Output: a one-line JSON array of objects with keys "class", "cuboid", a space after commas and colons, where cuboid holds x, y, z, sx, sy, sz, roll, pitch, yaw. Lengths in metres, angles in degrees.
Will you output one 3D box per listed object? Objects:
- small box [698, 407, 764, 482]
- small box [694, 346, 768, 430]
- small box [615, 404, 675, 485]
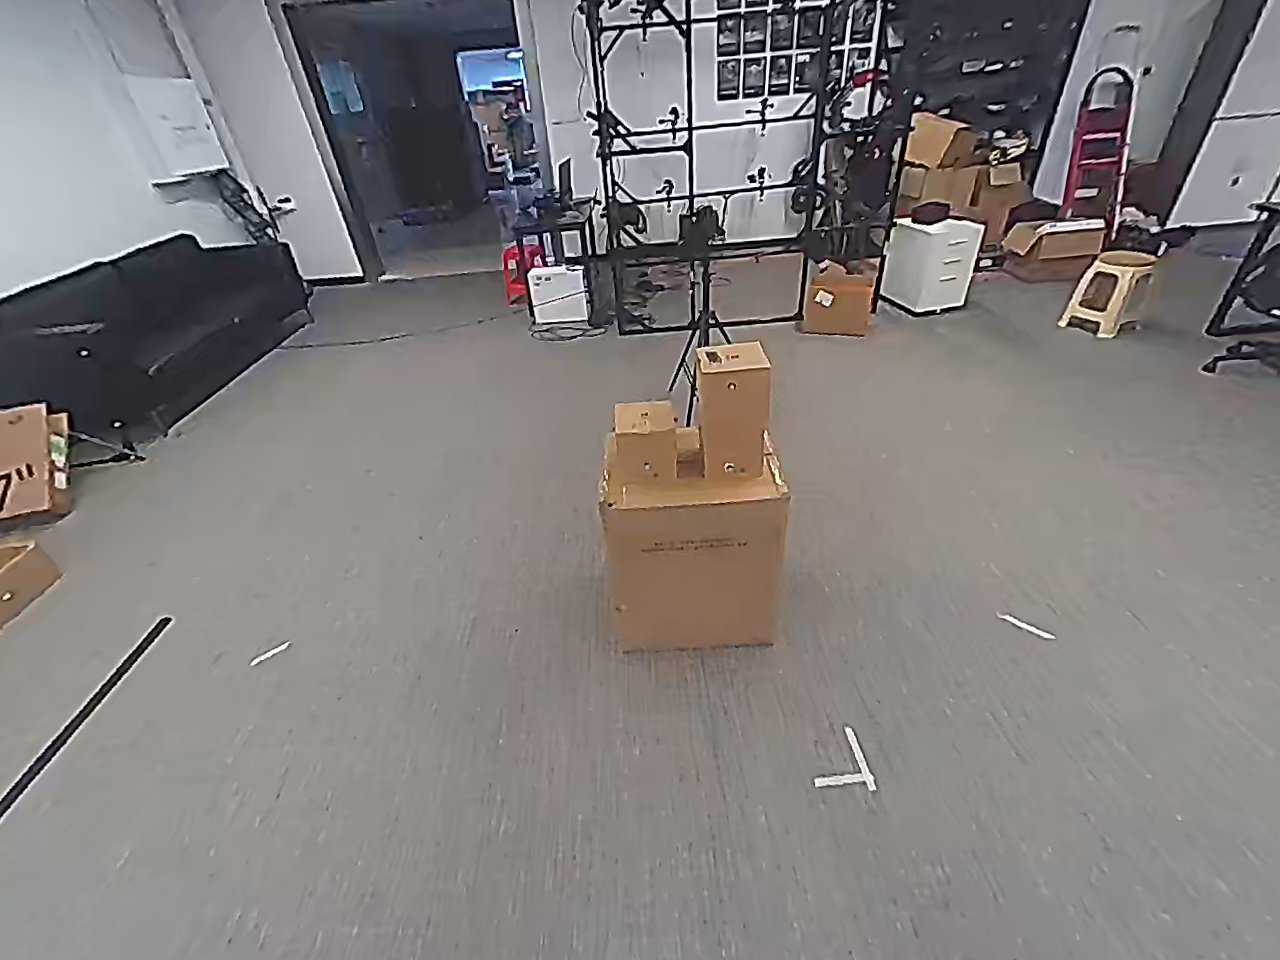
[{"class": "small box", "cuboid": [0.258, -0.113, 1.560, 0.168, 0.176, 0.179, -6, 37, 3]}, {"class": "small box", "cuboid": [0.244, -0.246, 1.464, 0.179, 0.176, 0.168, -5, 36, 3]}, {"class": "small box", "cuboid": [0.014, -0.105, 1.577, 0.168, 0.176, 0.179, -4, 36, 0]}]
